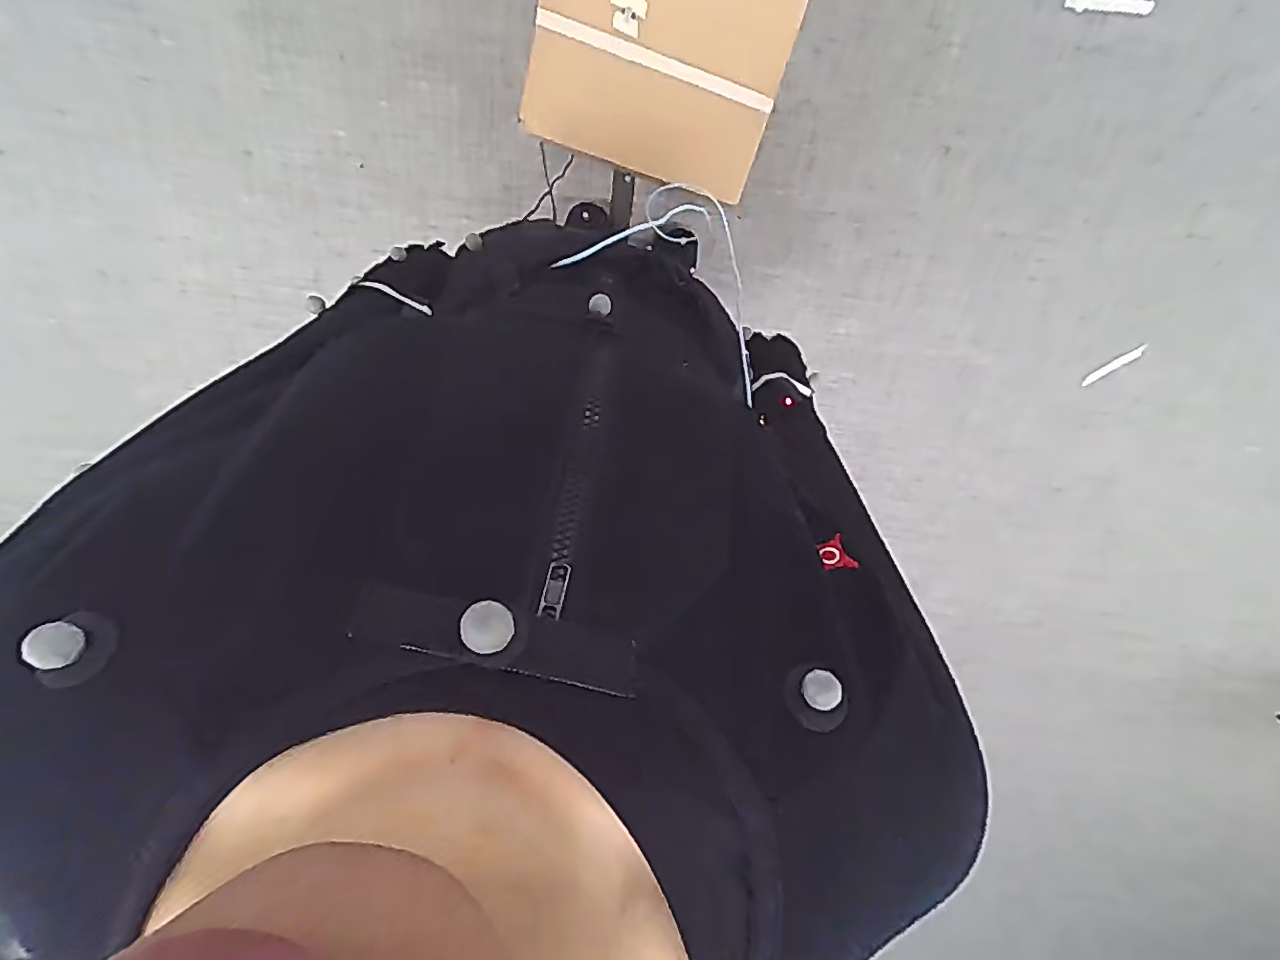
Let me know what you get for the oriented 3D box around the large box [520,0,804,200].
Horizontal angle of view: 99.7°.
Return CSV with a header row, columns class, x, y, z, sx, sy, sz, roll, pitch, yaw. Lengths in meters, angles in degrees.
class,x,y,z,sx,sy,sz,roll,pitch,yaw
large box,0.028,-0.754,1.015,0.408,0.320,0.320,16,116,-9
